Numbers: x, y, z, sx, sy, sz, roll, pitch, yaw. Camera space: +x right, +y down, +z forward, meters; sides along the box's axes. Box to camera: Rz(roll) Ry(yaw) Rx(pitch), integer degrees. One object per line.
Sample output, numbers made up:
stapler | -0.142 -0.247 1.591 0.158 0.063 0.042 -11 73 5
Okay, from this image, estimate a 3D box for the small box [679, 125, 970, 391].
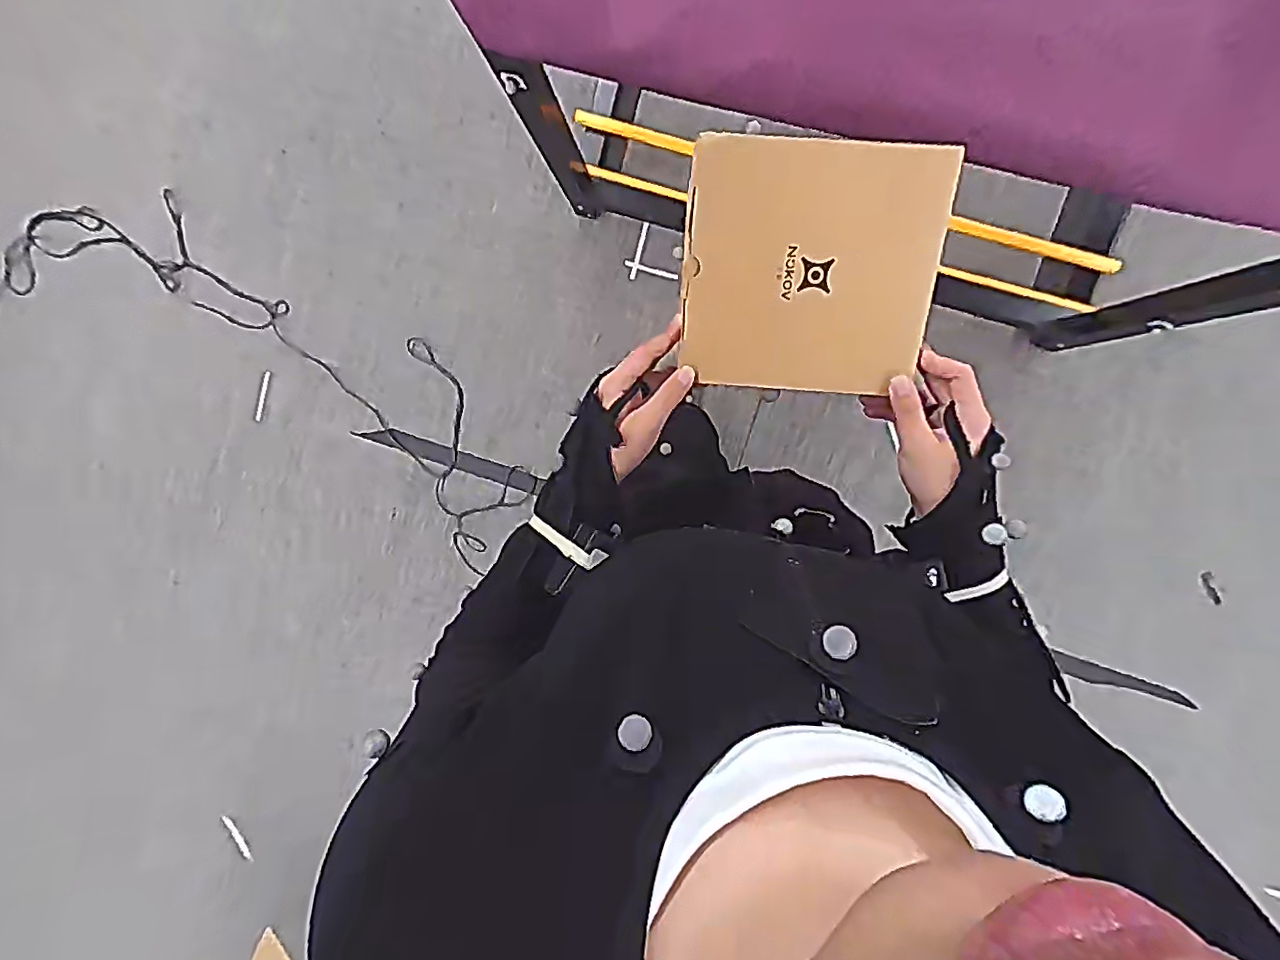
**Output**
small box | 0.126 -0.176 0.450 0.179 0.176 0.168 4 110 3
